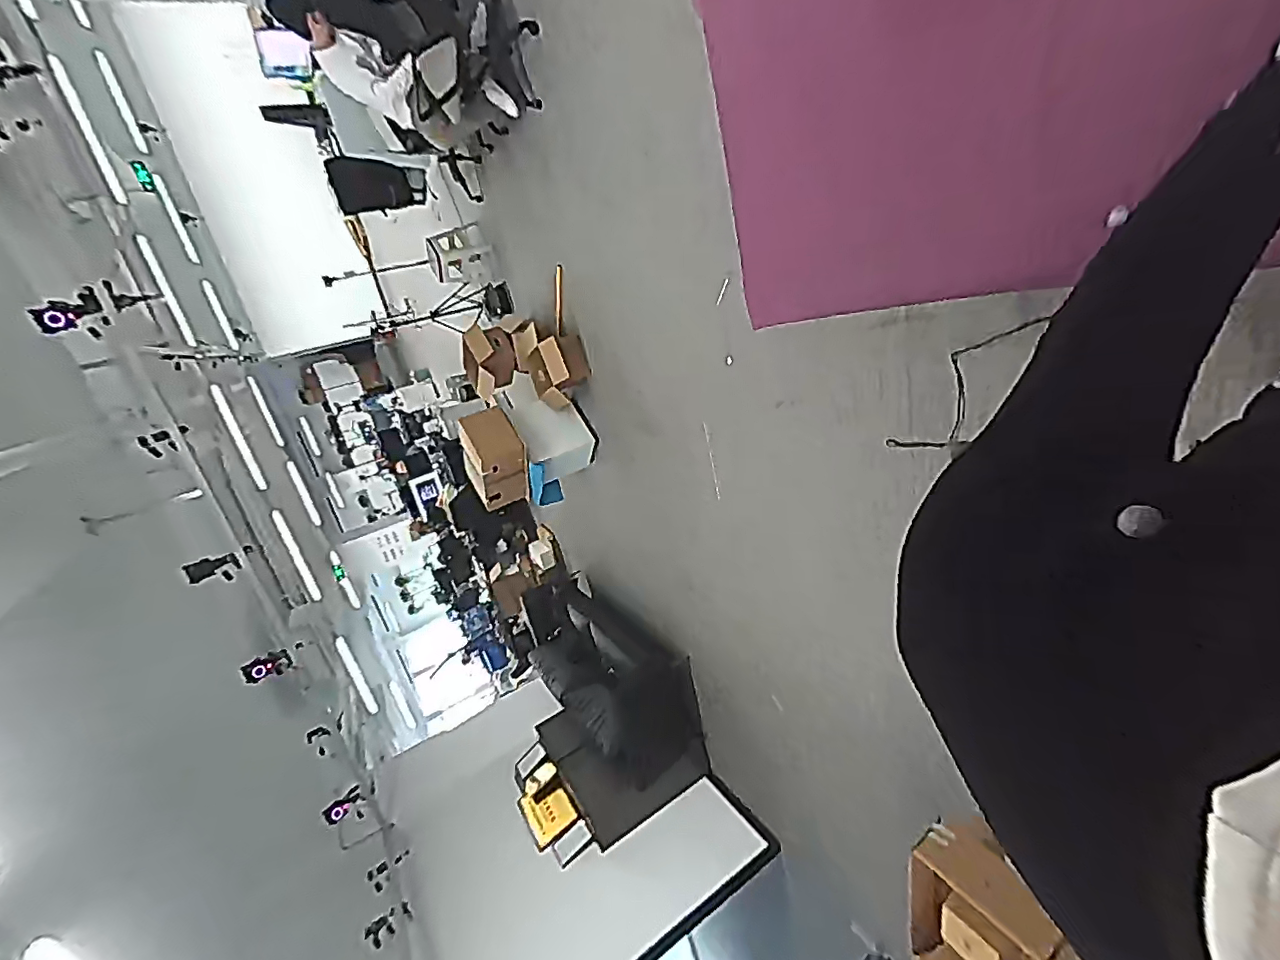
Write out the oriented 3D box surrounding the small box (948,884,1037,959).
[{"bbox_3d":[1.053,1.375,1.615,0.168,0.176,0.179,26,134,56],"label":"small box"}]
